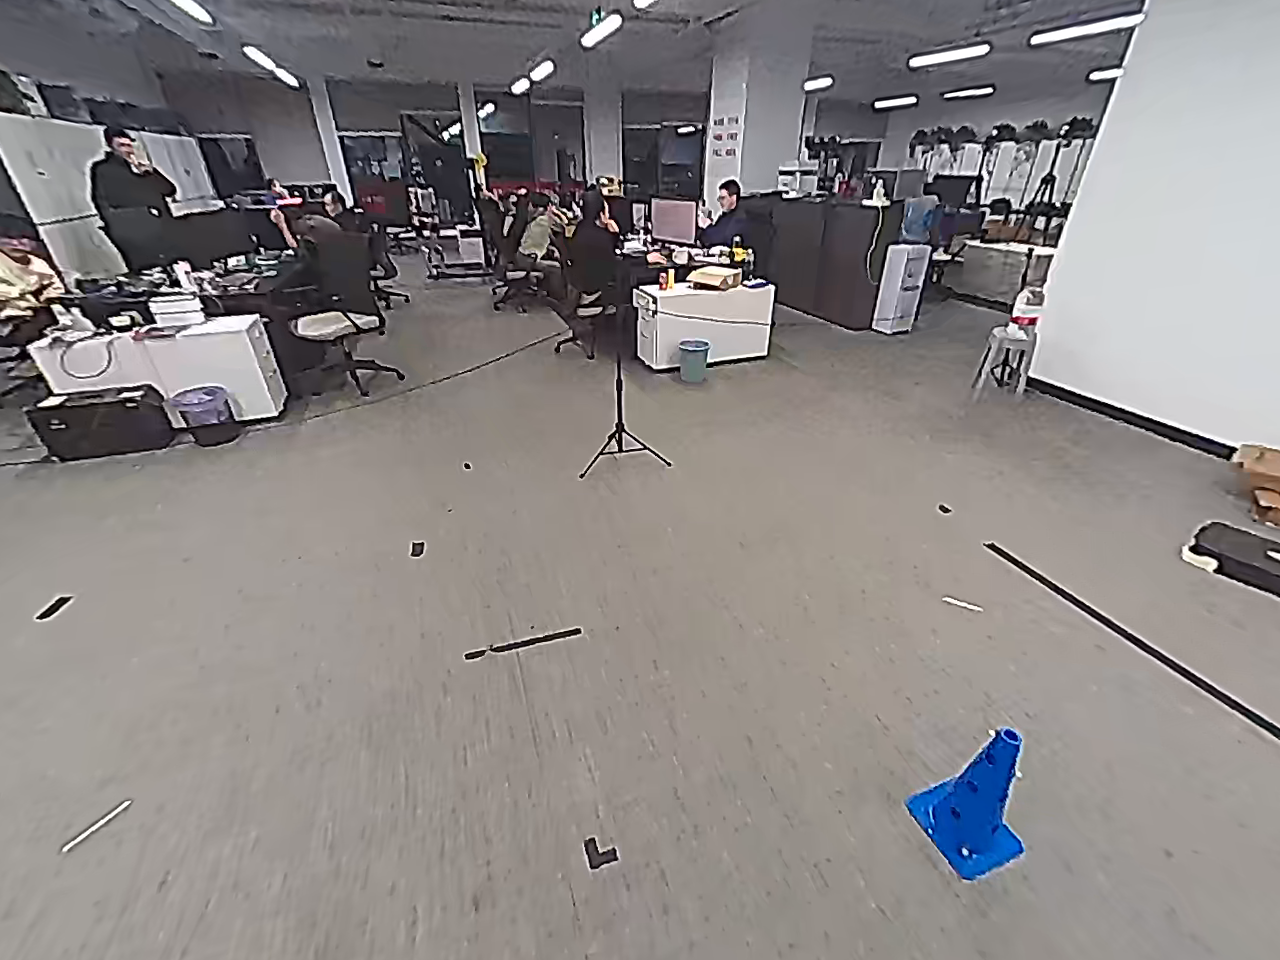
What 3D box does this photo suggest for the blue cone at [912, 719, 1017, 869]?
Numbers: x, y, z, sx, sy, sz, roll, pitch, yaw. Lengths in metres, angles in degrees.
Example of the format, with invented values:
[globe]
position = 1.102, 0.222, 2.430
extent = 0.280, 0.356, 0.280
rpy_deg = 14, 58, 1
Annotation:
[blue cone]
position = 0.801, 0.704, 1.260
extent = 0.193, 0.380, 0.192
rpy_deg = -10, 30, -16
